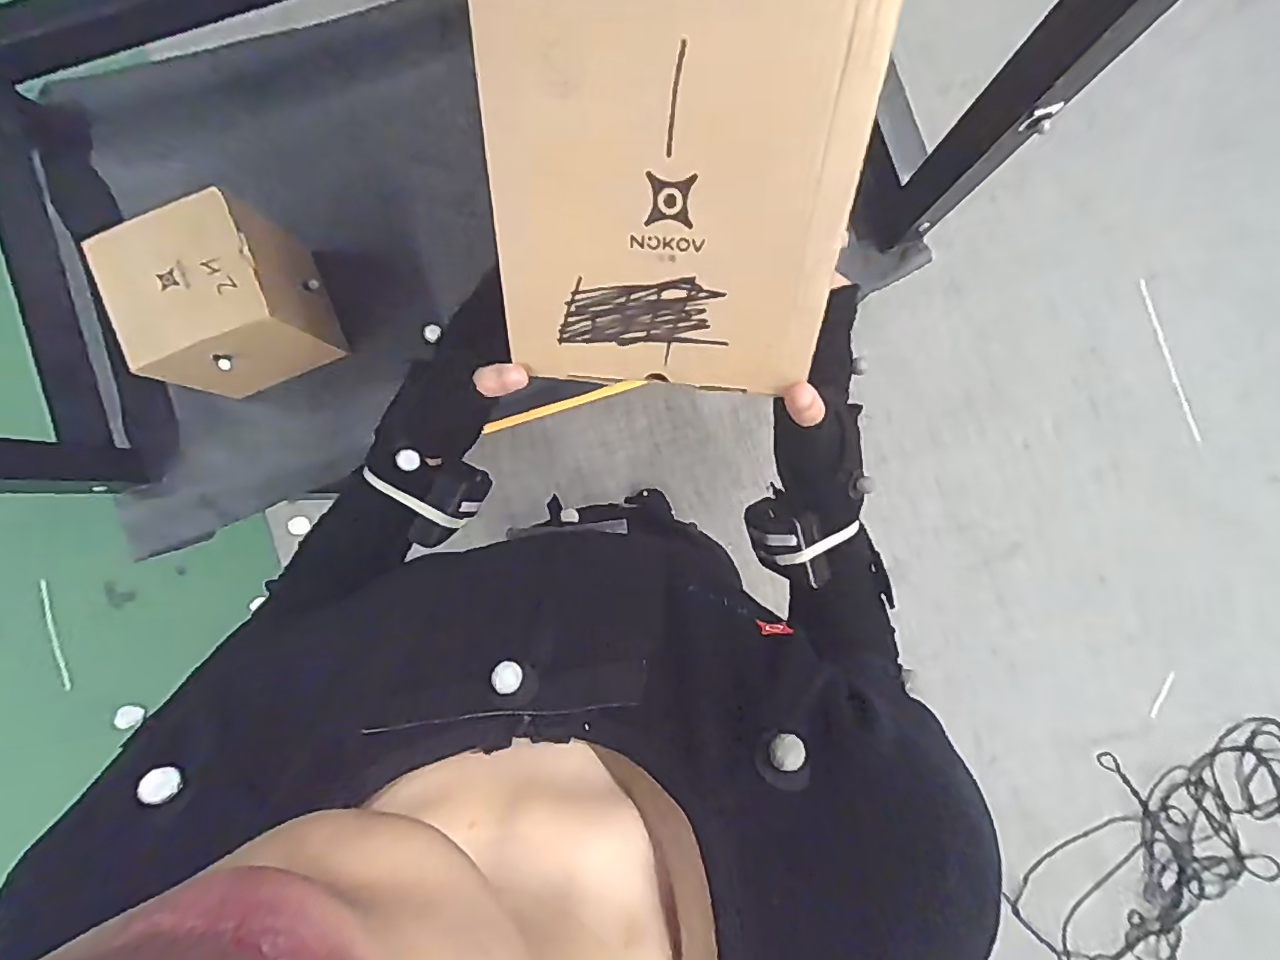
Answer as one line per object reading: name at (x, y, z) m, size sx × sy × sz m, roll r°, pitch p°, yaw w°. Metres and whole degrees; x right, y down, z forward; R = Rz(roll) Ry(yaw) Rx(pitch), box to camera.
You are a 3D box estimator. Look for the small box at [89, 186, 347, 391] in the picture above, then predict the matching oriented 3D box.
small box at (-0.527, -0.231, 0.701) m, size 0.179 × 0.176 × 0.168 m, roll -22°, pitch 89°, yaw -1°
